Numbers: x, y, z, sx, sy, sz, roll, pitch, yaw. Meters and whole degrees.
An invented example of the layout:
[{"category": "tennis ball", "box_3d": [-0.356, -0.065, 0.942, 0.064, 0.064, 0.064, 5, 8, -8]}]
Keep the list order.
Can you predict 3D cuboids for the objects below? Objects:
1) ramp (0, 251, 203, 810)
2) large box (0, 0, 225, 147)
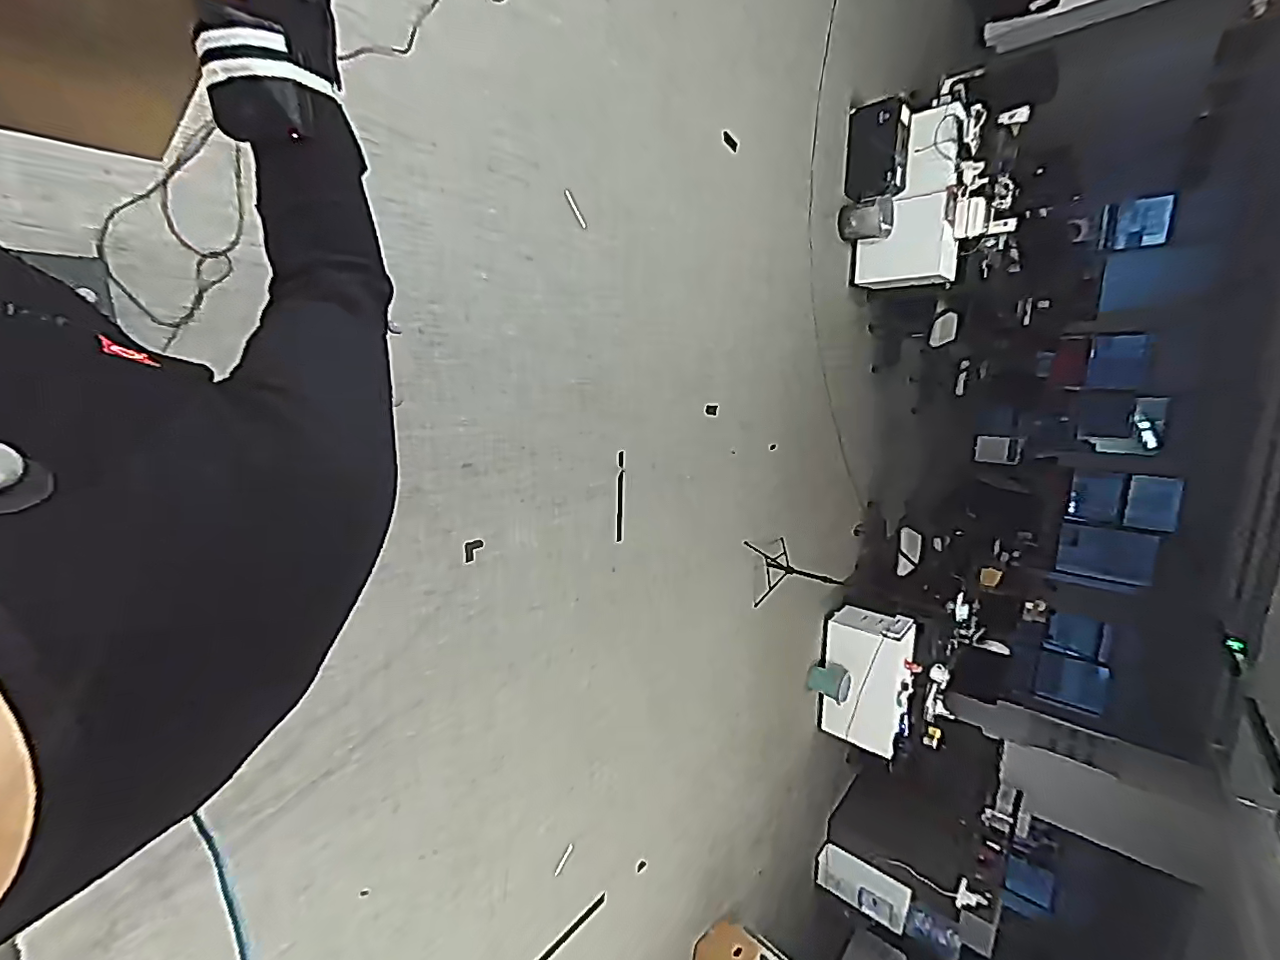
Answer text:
[{"category": "ramp", "box_3d": [-1.177, 0.088, 0.954, 0.509, 0.206, 0.991, -15, 108, -46]}, {"category": "large box", "box_3d": [-0.511, -0.435, 0.273, 0.408, 0.320, 0.320, -14, 104, -48]}]
